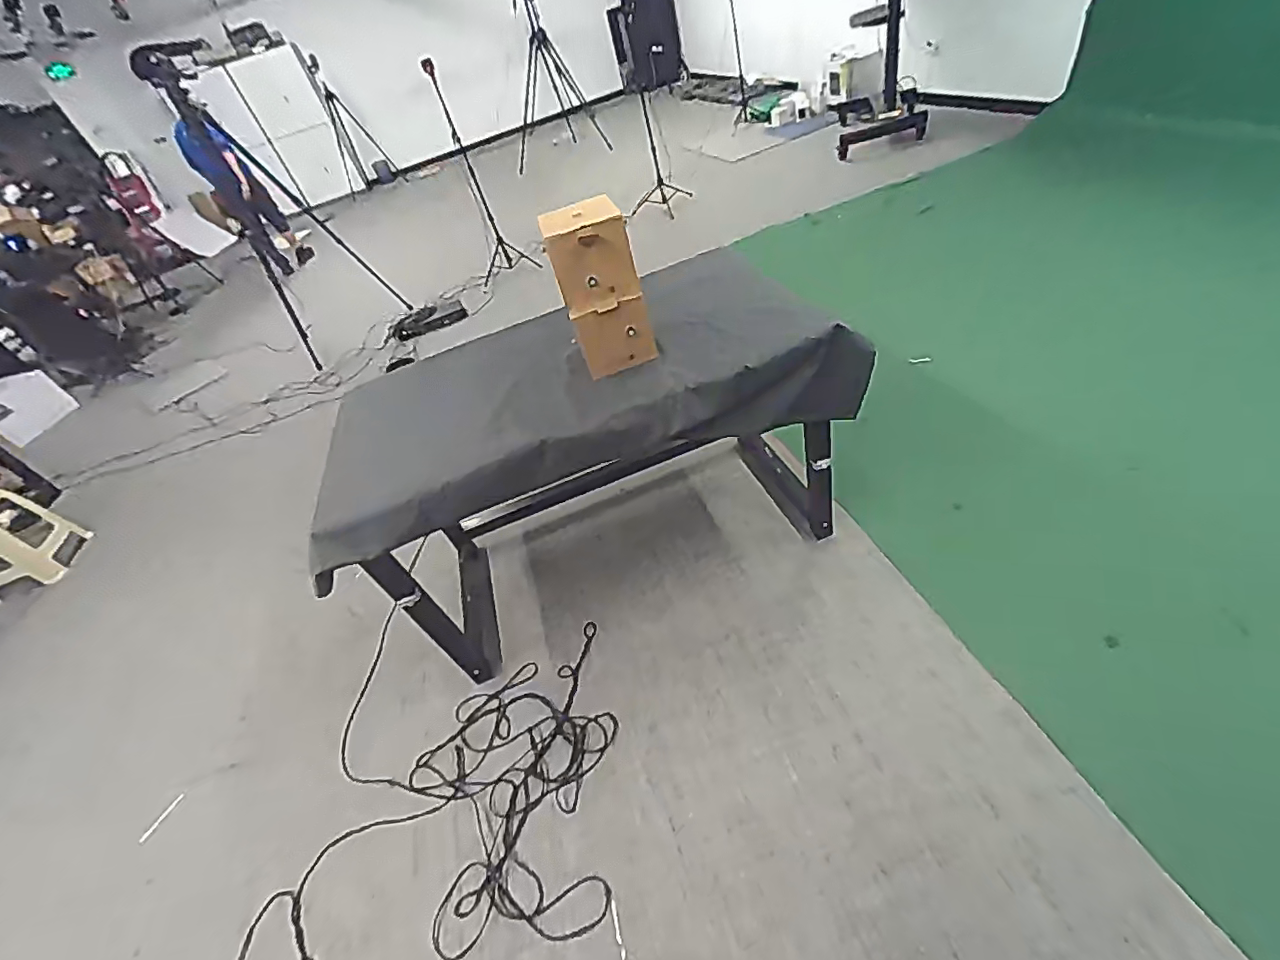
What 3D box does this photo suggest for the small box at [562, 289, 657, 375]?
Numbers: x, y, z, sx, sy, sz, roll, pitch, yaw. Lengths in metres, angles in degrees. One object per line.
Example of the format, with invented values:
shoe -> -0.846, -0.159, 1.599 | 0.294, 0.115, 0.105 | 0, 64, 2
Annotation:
small box -> -0.070, -0.368, 1.278 | 0.168, 0.176, 0.179 | -20, 40, -2

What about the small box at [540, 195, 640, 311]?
small box -> -0.109, -0.495, 1.183 | 0.168, 0.176, 0.179 | -19, 42, -2
